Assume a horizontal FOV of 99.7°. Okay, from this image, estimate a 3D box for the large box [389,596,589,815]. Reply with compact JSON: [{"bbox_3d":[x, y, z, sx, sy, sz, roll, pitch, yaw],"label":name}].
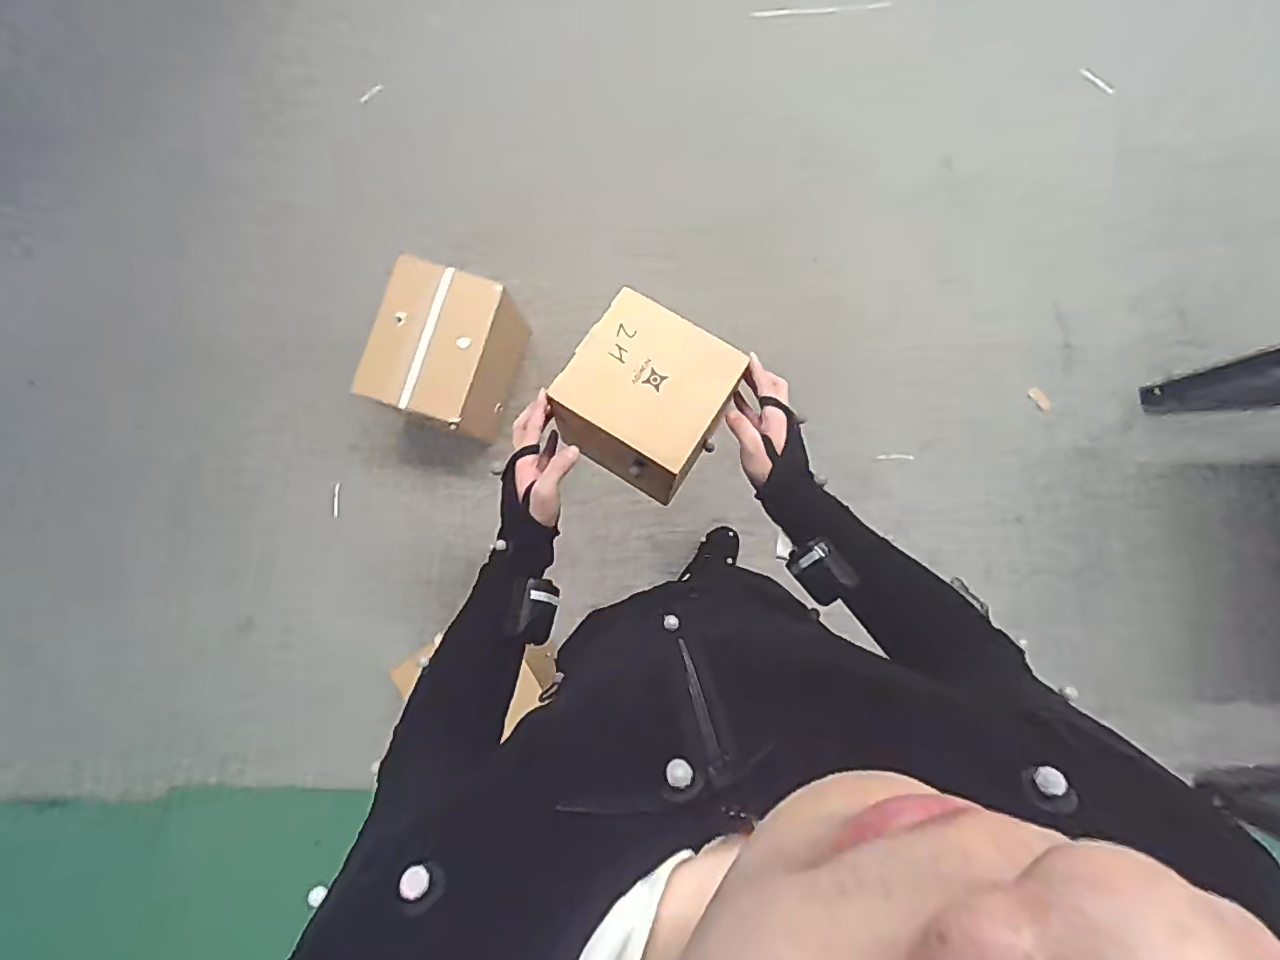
[{"bbox_3d":[-0.388,0.581,1.477,0.320,0.320,0.408,-34,84,0],"label":"large box"}]
